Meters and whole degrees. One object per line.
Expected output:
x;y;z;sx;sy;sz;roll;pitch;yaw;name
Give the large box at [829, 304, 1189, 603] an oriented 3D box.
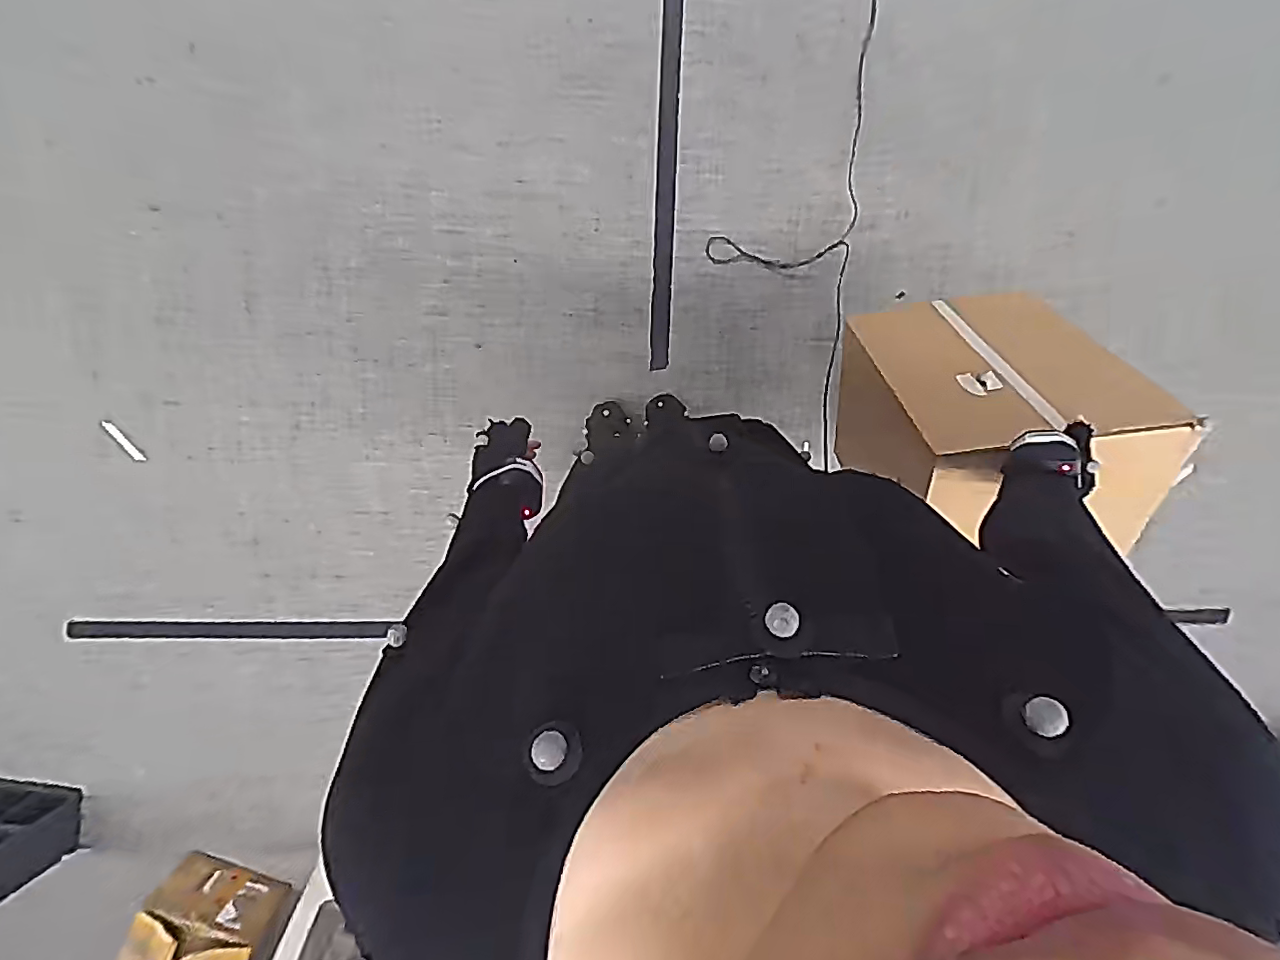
0.544;-0.054;0.924;0.320;0.408;0.320;-8;132;5;large box
